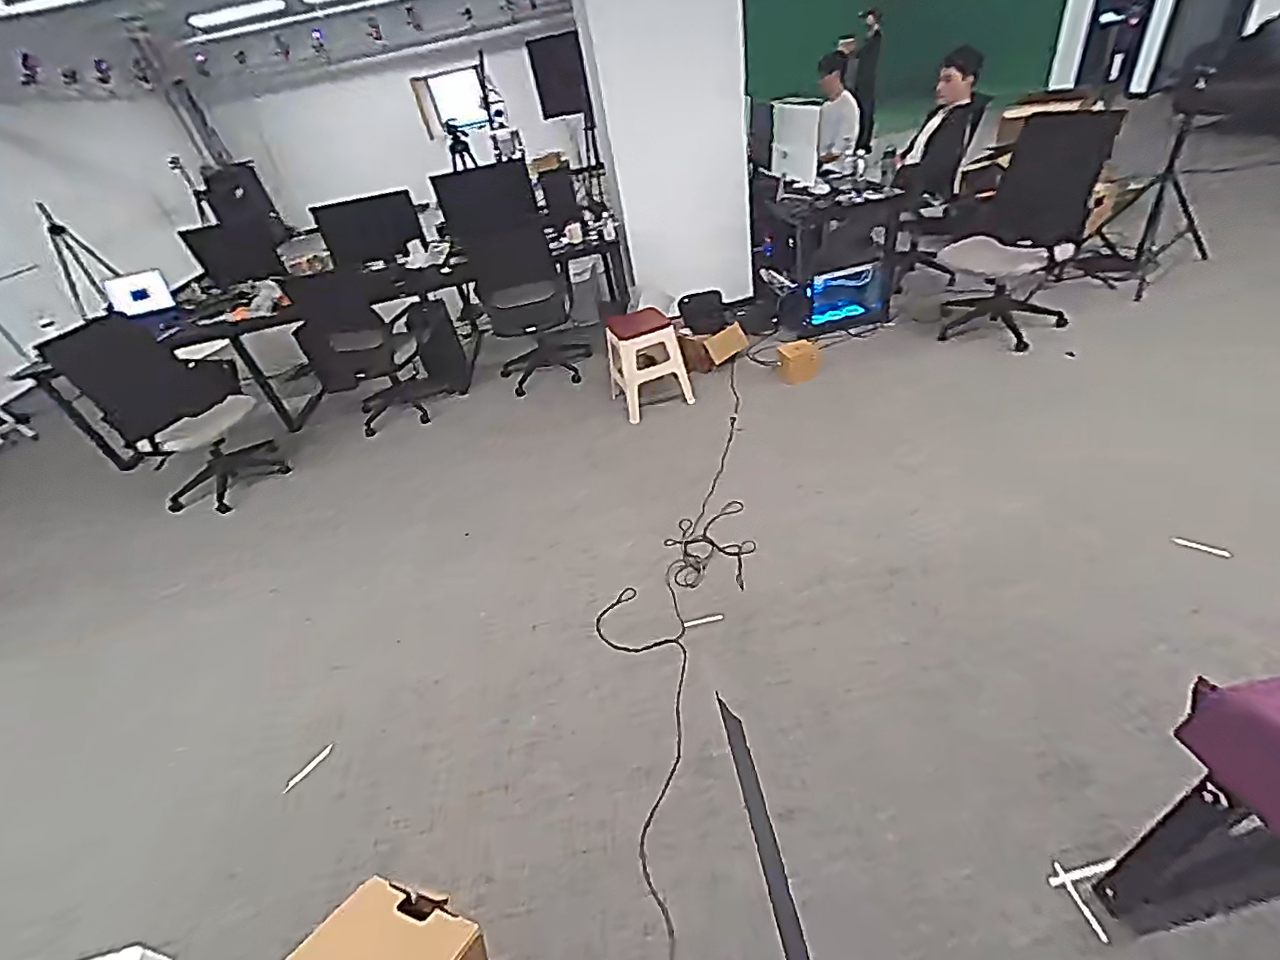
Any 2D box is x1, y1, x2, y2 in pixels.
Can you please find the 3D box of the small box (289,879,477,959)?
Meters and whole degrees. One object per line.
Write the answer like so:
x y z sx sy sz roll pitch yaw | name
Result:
-0.255 0.543 0.510 0.168 0.176 0.179 -1 12 27 | small box
